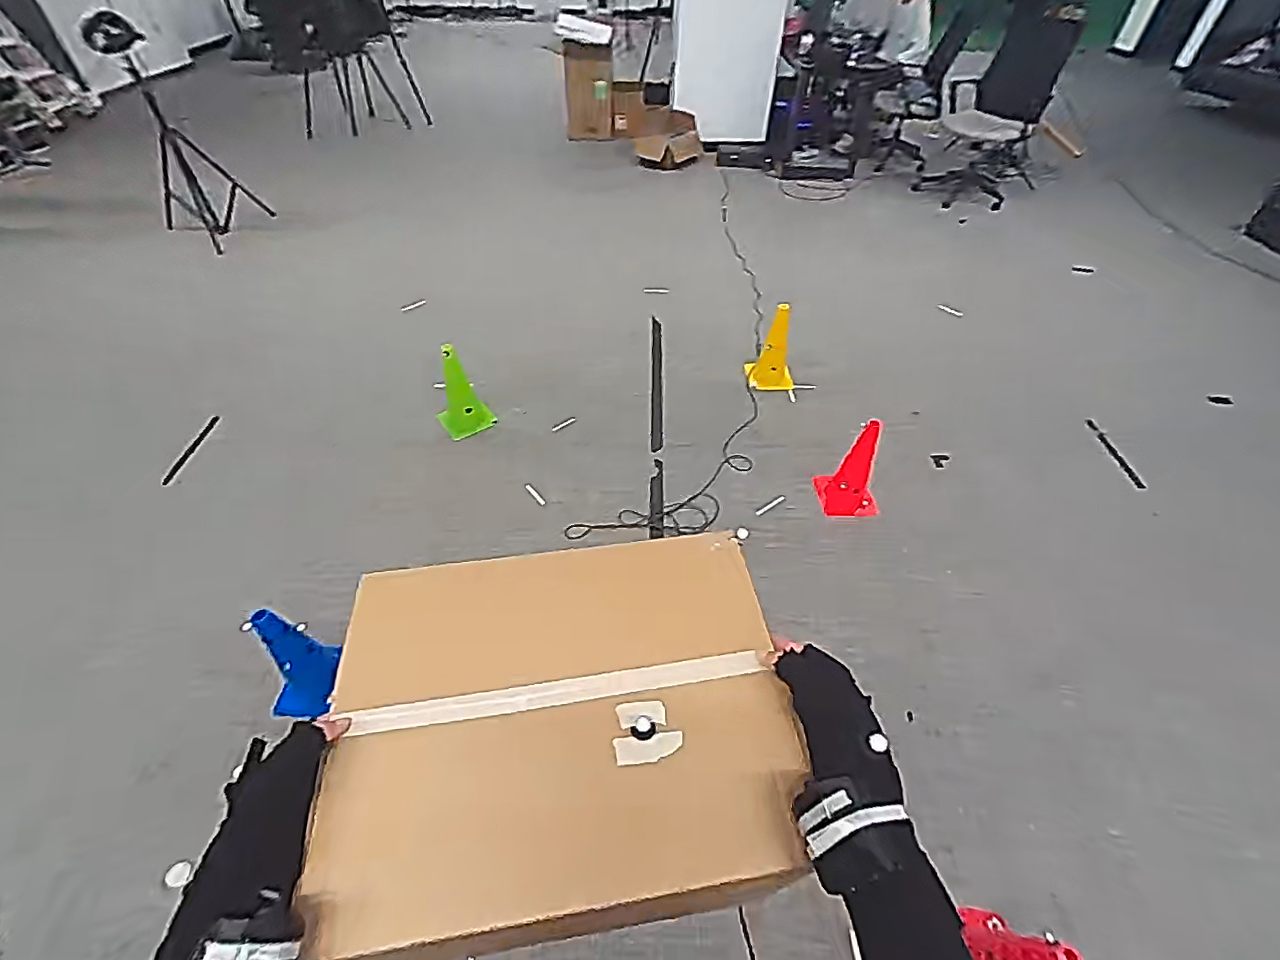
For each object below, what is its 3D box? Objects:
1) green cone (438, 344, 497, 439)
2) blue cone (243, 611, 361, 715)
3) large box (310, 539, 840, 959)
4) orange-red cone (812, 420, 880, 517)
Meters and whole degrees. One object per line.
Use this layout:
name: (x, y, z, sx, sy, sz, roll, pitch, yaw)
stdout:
green cone: (-0.726, -0.377, 2.146, 0.202, 0.368, 0.200, -29, 53, -24)
blue cone: (-0.891, 0.446, 1.386, 0.192, 0.380, 0.193, 2, 46, 3)
large box: (-0.063, 0.298, 0.606, 0.408, 0.320, 0.320, -5, 48, -6)
orange-red cone: (0.754, -0.061, 1.875, 0.198, 0.360, 0.199, 0, 45, -3)
